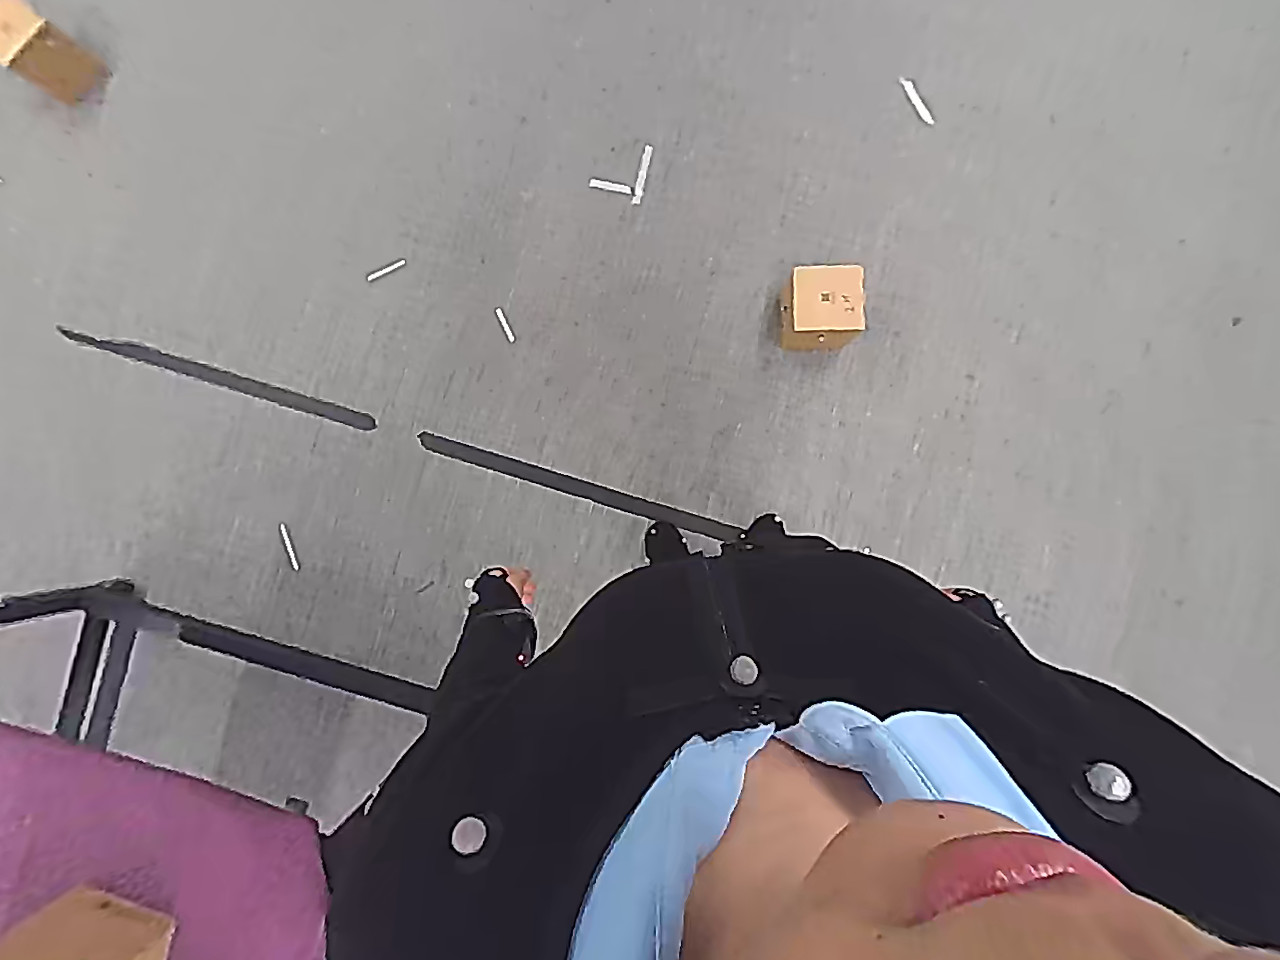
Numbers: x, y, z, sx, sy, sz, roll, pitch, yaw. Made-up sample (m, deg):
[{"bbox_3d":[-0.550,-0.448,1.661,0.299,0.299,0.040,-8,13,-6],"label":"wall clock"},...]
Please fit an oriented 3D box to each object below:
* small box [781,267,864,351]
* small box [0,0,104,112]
[{"bbox_3d":[0.473,-0.444,1.427,0.179,0.176,0.168,0,87,3],"label":"small box"},{"bbox_3d":[-1.768,-1.251,1.600,0.168,0.176,0.179,41,90,4],"label":"small box"}]
